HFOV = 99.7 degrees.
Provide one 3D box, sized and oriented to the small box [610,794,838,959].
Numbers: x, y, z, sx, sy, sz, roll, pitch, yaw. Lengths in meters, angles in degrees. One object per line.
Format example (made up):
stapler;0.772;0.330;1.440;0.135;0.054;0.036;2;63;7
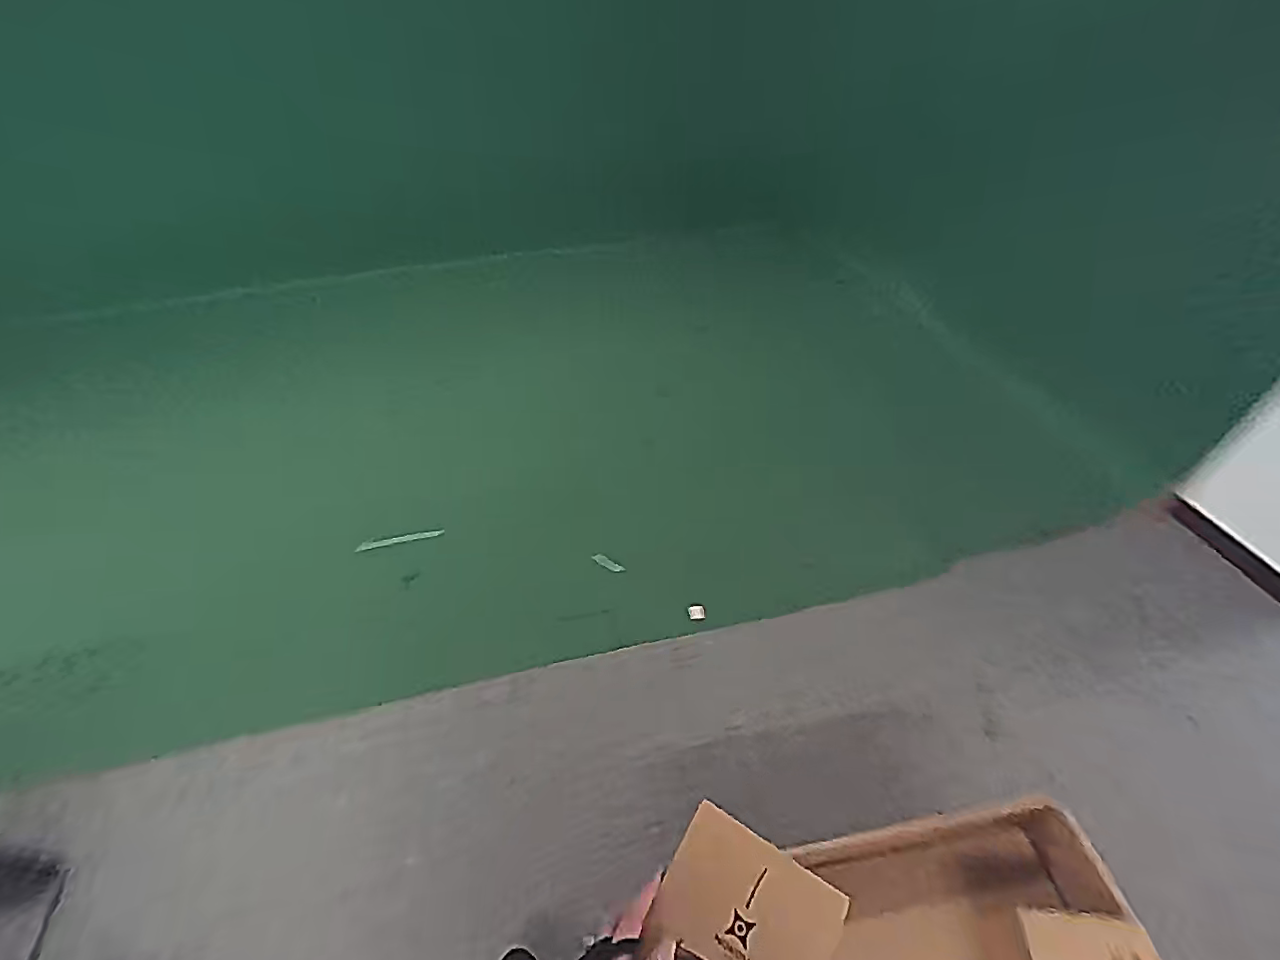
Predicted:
small box;0.088;0.479;0.575;0.168;0.176;0.179;24;57;22
